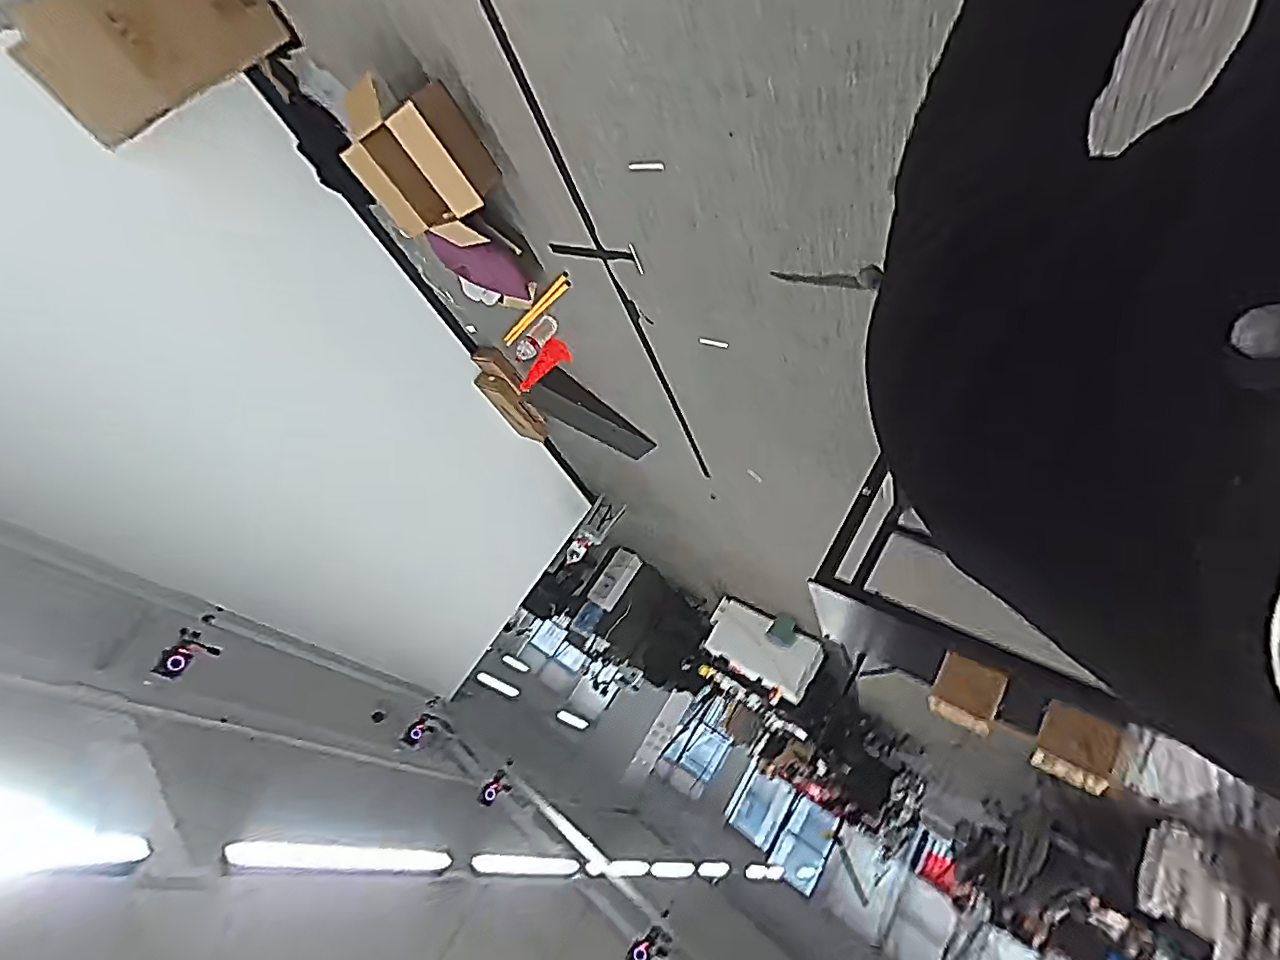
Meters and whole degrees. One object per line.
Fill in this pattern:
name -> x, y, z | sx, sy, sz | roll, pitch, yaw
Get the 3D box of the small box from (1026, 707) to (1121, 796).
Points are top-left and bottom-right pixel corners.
small box -> 1.300, 0.806, 1.627 | 0.179, 0.176, 0.168 | 19, 156, 39

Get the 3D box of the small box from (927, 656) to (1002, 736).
small box -> 1.076, 0.712, 1.794 | 0.179, 0.176, 0.168 | 19, 156, 39
